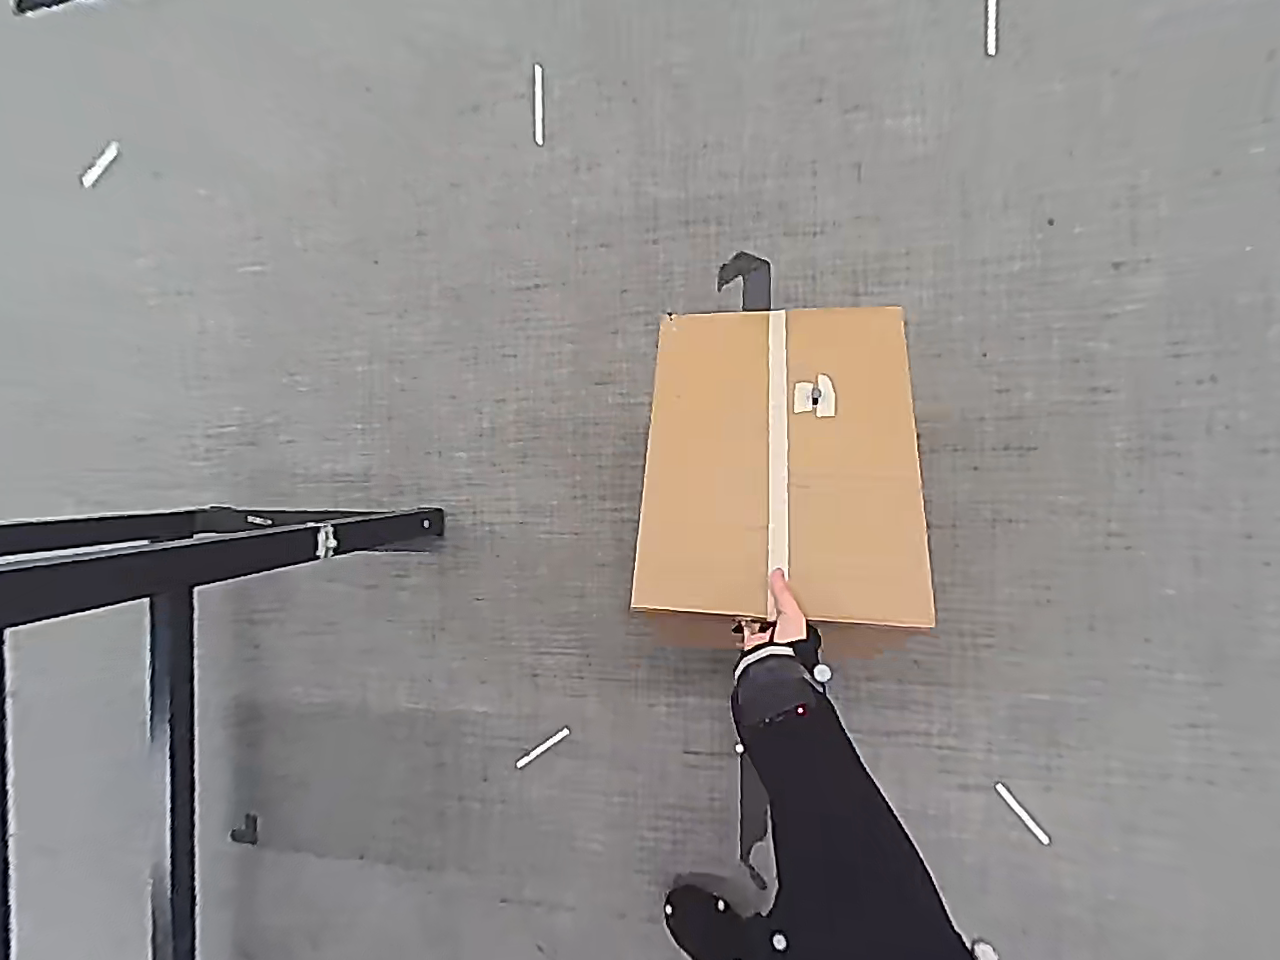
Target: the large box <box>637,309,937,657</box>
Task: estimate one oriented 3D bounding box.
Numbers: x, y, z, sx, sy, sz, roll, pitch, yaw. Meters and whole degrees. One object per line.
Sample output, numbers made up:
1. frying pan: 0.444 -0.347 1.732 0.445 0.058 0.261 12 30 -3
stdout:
1. large box: 0.189 0.021 0.775 0.320 0.320 0.408 2 65 11
